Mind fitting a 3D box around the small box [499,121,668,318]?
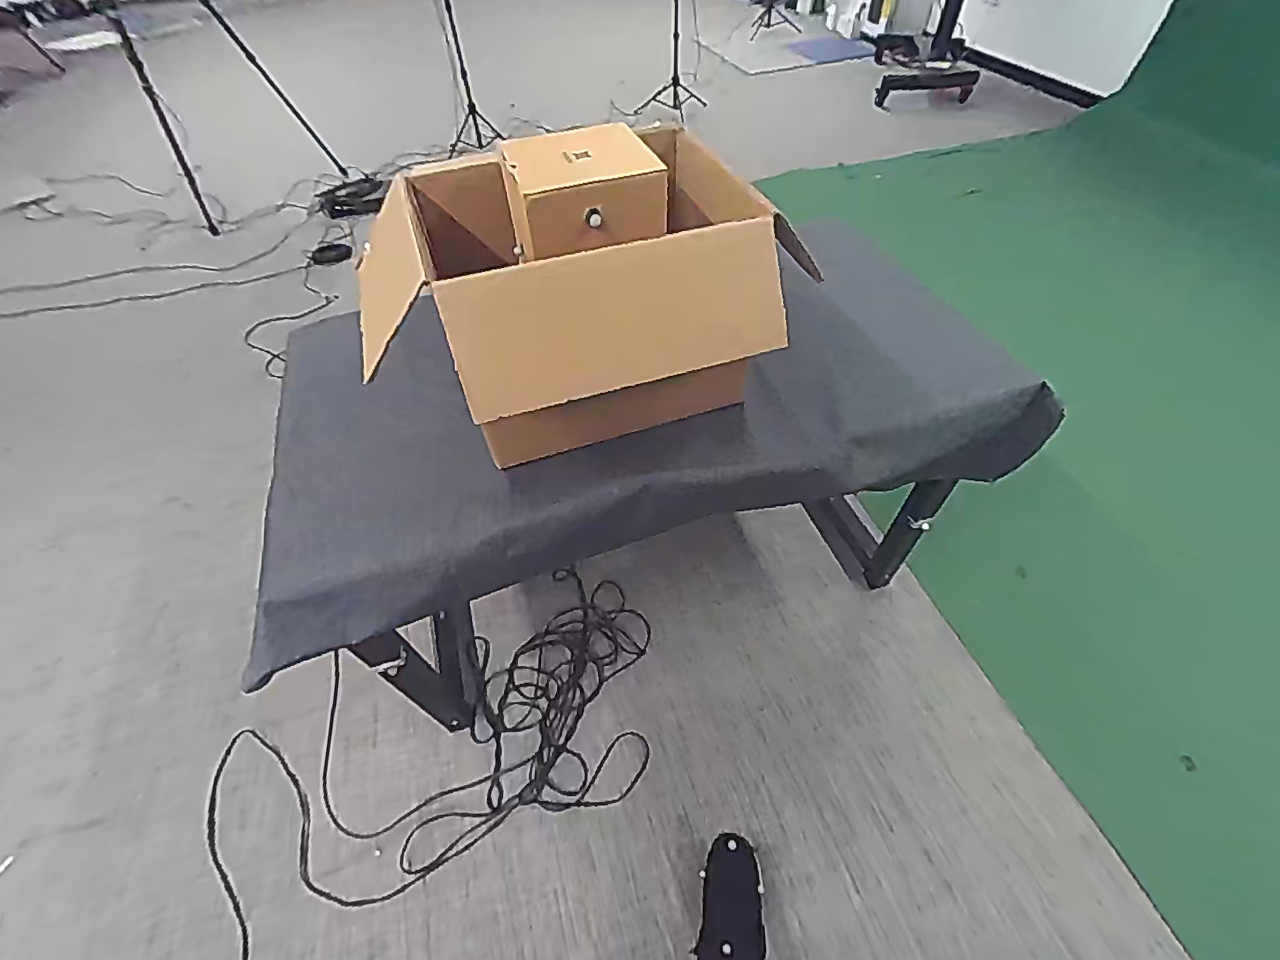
[{"bbox_3d":[-0.072,-0.344,0.720,0.179,0.176,0.168,-17,53,-11],"label":"small box"}]
